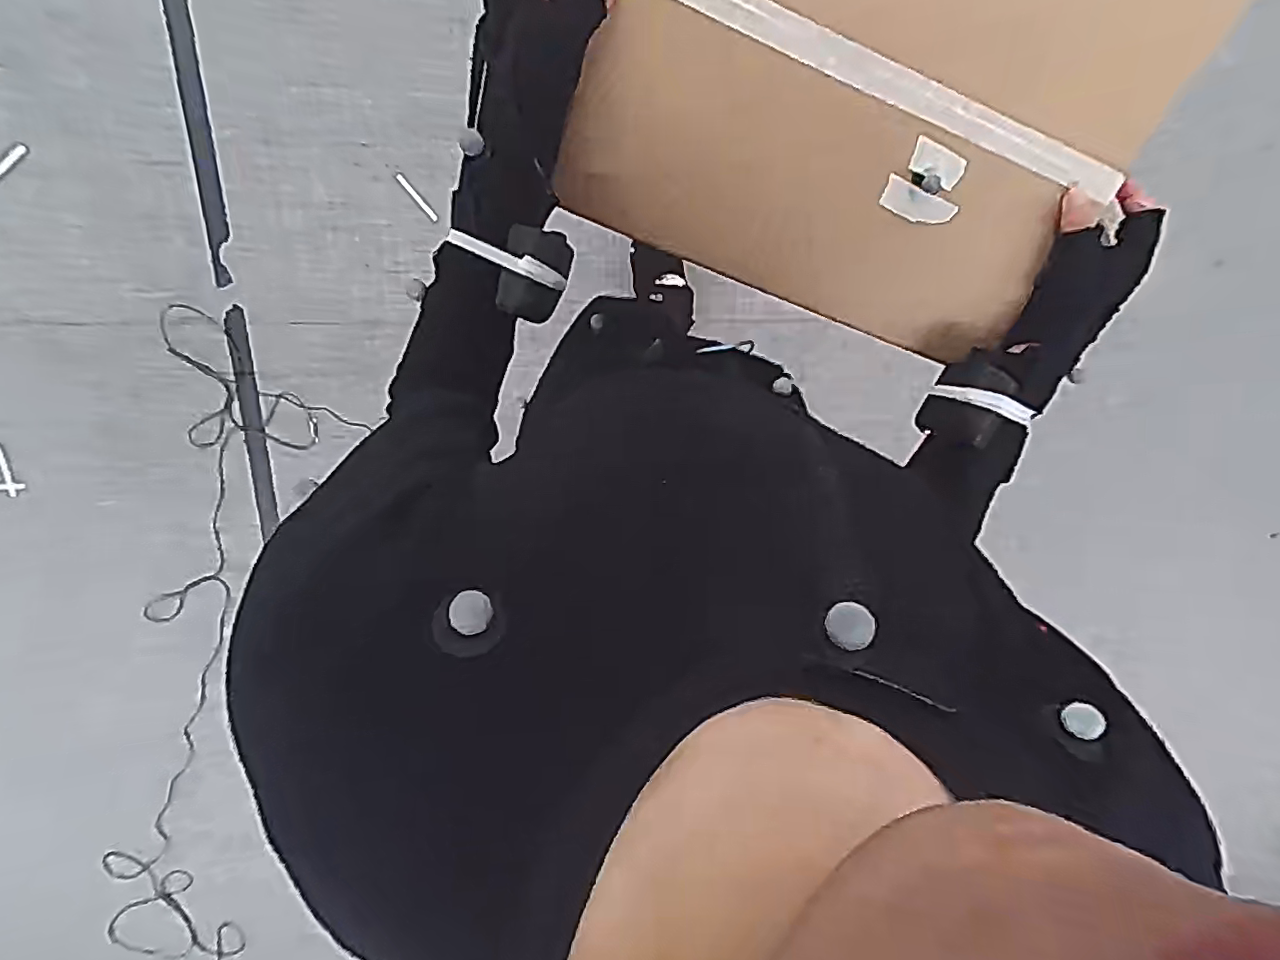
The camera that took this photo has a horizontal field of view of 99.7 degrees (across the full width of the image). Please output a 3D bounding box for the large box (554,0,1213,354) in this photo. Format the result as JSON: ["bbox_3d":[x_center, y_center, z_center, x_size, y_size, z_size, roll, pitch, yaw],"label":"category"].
[{"bbox_3d":[0.166,-0.371,0.519,0.408,0.320,0.320,18,120,-10],"label":"large box"}]
